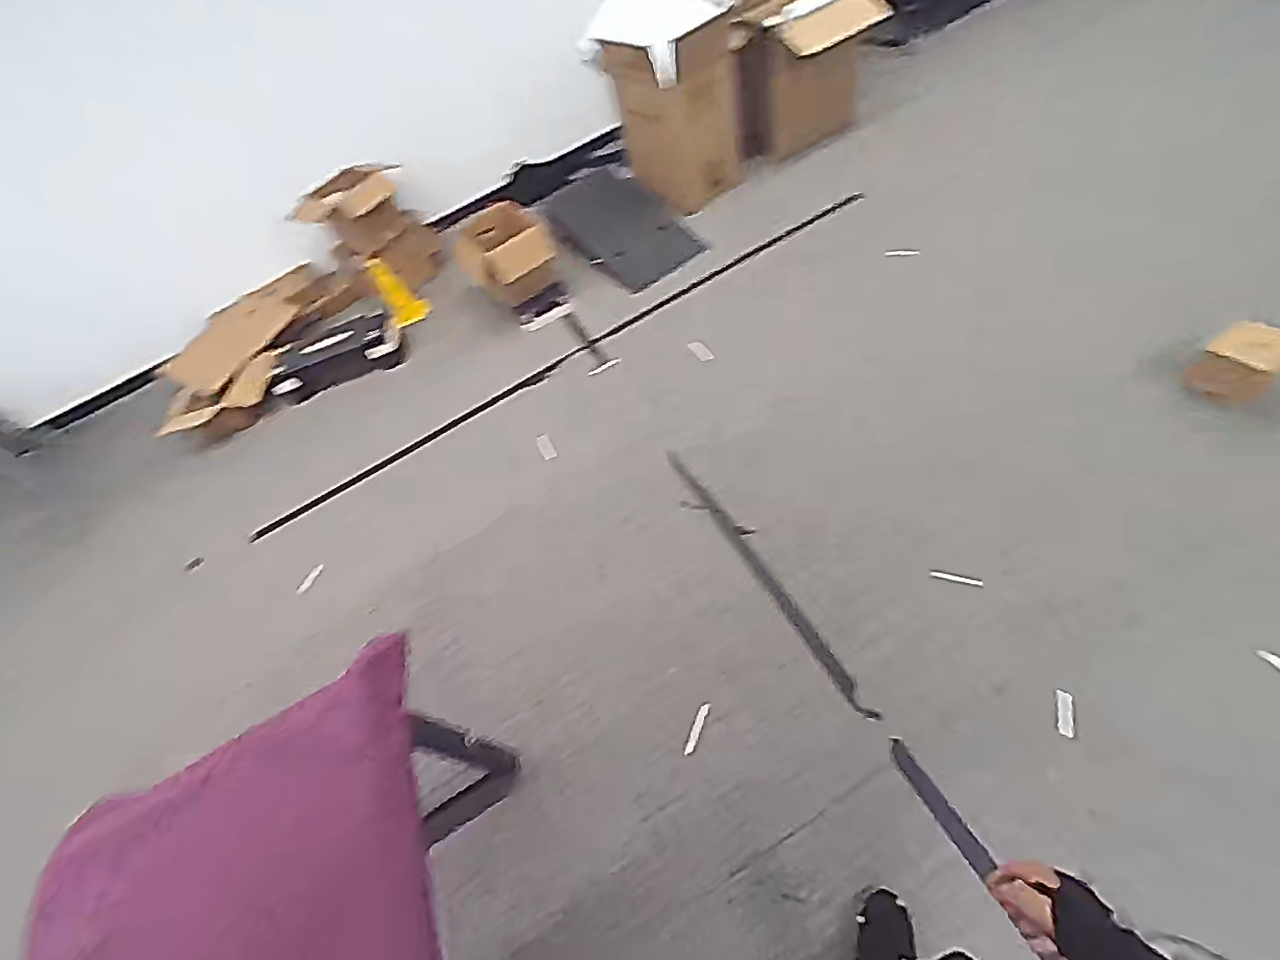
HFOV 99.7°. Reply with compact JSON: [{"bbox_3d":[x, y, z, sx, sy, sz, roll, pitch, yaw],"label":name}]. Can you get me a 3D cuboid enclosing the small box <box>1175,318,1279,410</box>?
[{"bbox_3d":[1.798,-0.349,1.638,0.179,0.176,0.168,-33,51,-7],"label":"small box"}]
